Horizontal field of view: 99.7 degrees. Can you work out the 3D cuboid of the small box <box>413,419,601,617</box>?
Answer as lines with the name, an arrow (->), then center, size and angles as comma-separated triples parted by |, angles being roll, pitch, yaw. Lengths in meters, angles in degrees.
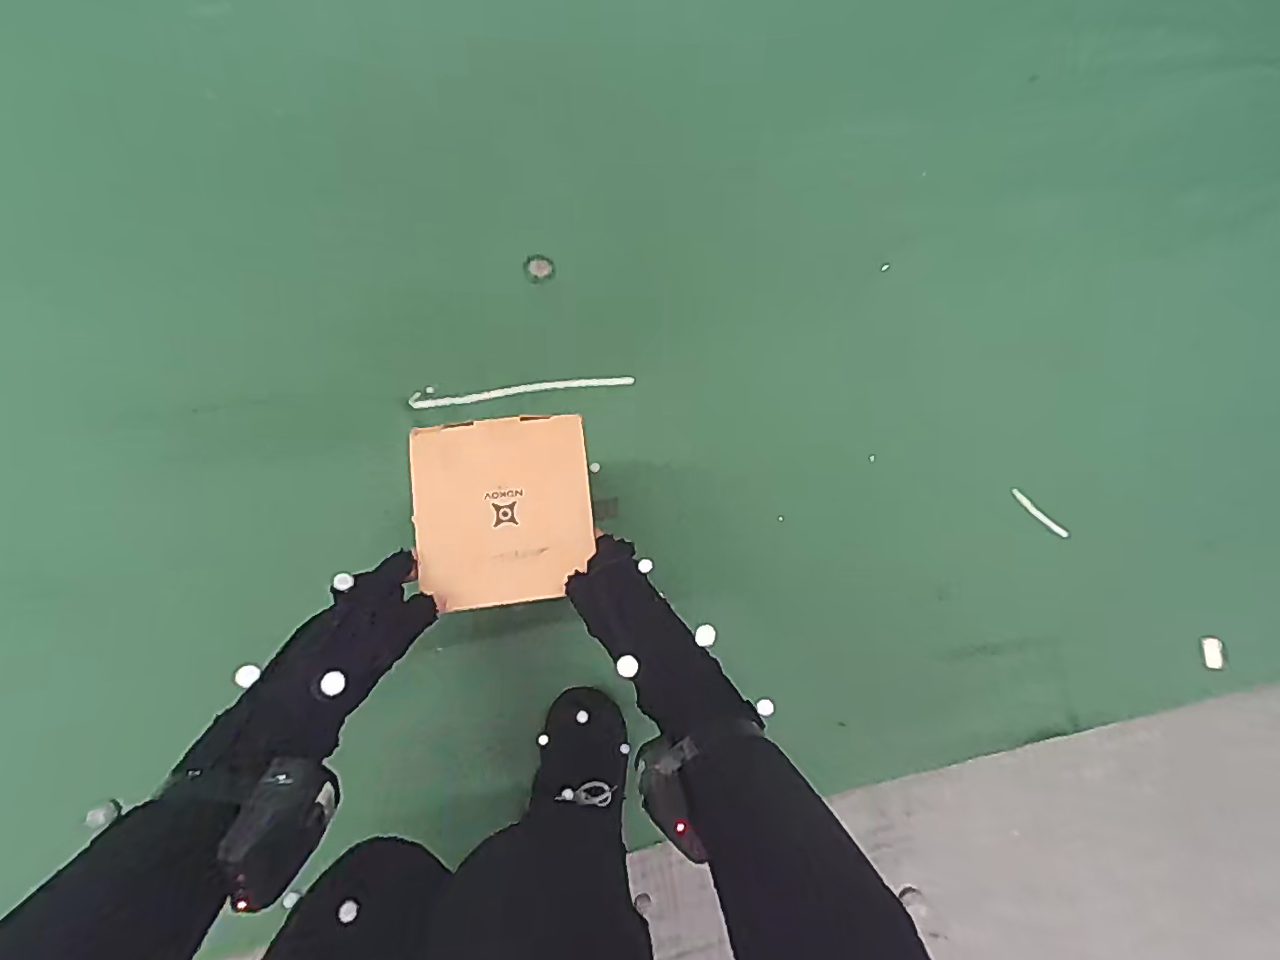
small box -> -0.131, 0.045, 0.576 | 0.168, 0.176, 0.179 | -5, 82, -5
